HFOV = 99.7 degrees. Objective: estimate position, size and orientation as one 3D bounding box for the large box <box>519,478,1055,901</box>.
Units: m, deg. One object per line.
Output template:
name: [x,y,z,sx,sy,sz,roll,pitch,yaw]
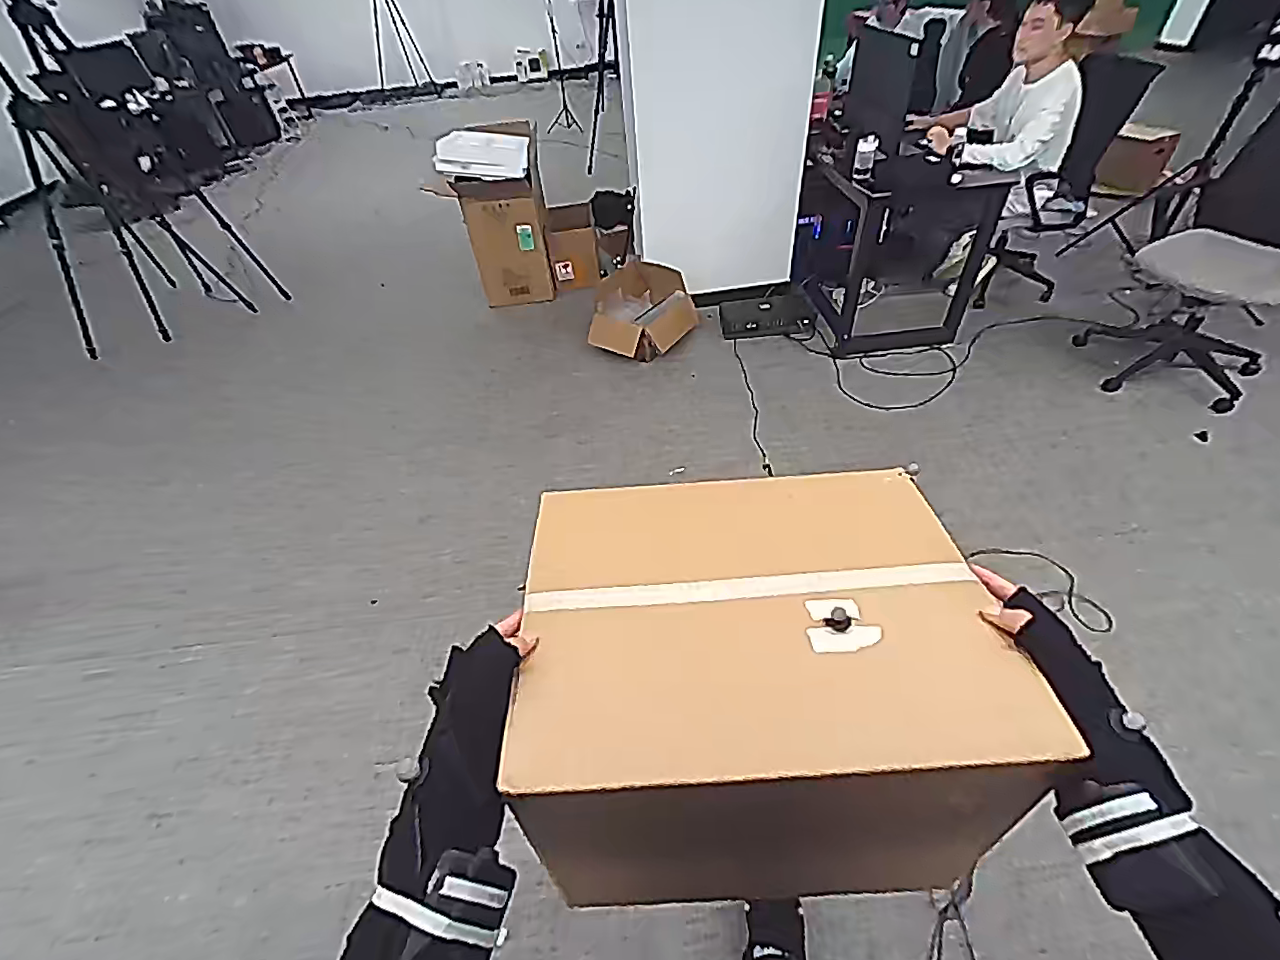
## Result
large box: [0.108,0.224,0.599,0.408,0.320,0.320,-4,40,1]
